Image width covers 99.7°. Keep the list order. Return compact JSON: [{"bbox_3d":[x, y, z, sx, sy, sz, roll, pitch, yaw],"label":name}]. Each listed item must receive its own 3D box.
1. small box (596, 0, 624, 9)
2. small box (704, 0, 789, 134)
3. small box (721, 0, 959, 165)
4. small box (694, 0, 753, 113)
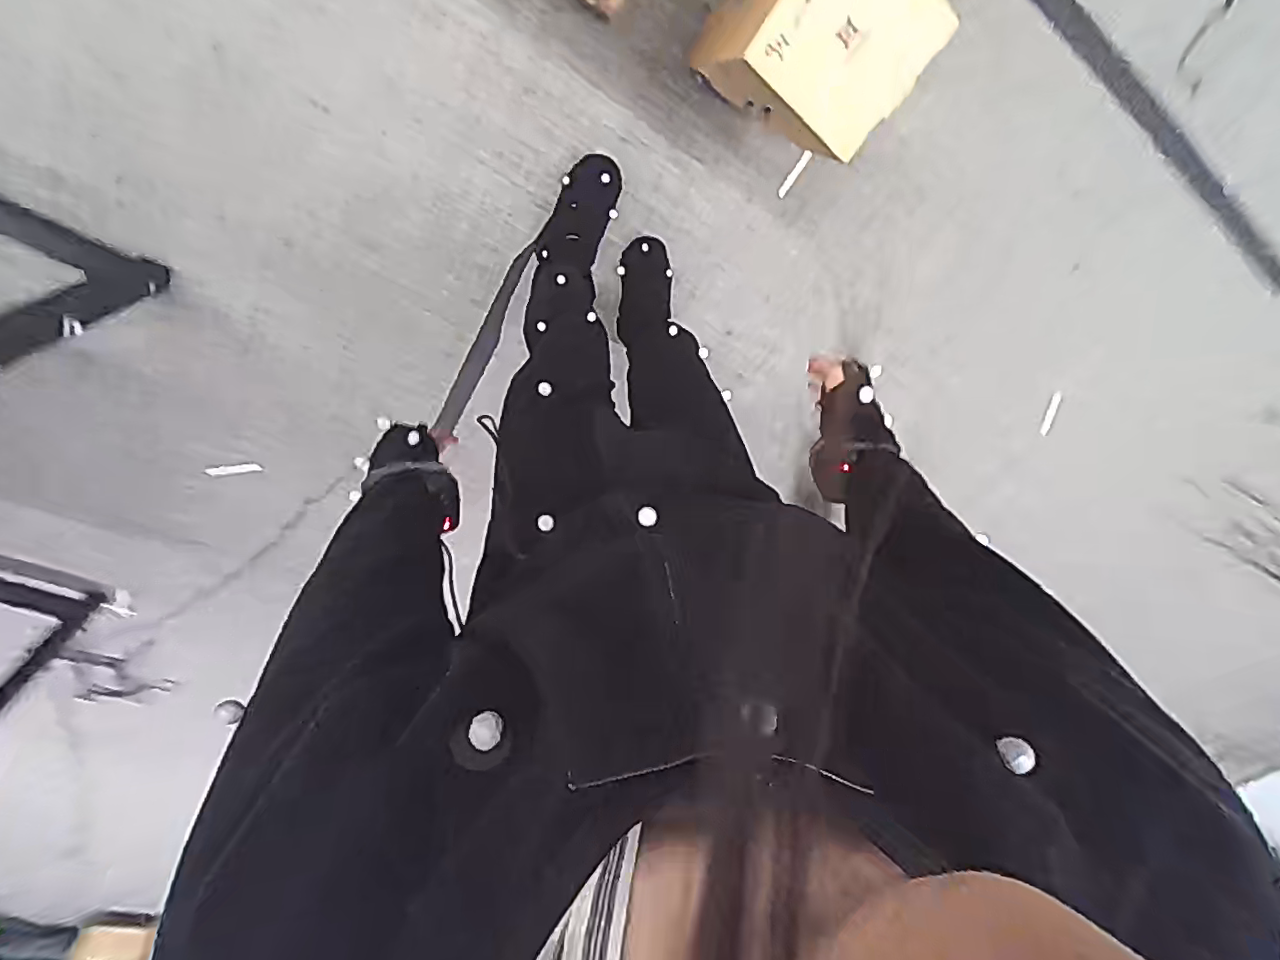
[{"bbox_3d":[-0.062,-0.839,0.793,0.179,0.176,0.168,25,120,-23],"label":"small box"},{"bbox_3d":[0.213,-0.623,0.775,0.179,0.176,0.168,26,121,-24],"label":"small box"},{"bbox_3d":[0.224,-0.522,0.646,0.179,0.176,0.168,29,119,-26],"label":"small box"},{"bbox_3d":[0.205,-0.735,0.896,0.168,0.176,0.179,24,120,-22],"label":"small box"}]
